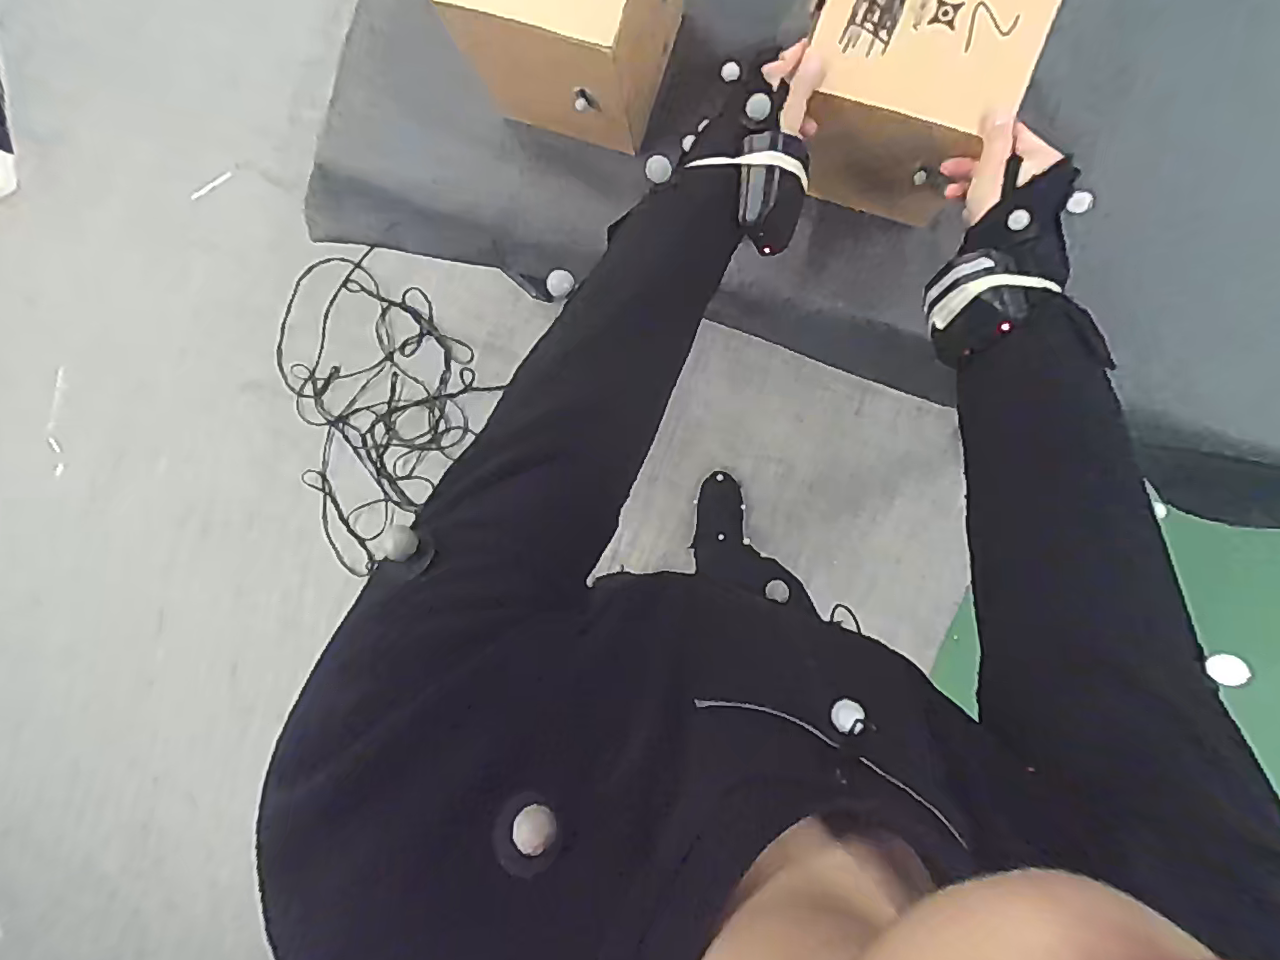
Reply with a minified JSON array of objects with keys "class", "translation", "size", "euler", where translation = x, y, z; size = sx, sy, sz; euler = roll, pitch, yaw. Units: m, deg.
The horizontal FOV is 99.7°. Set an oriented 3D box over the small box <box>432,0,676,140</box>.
[{"class":"small box","translation":[-0.070,-0.474,0.532],"size":[0.179,0.176,0.168],"euler":[19,94,6]}]
